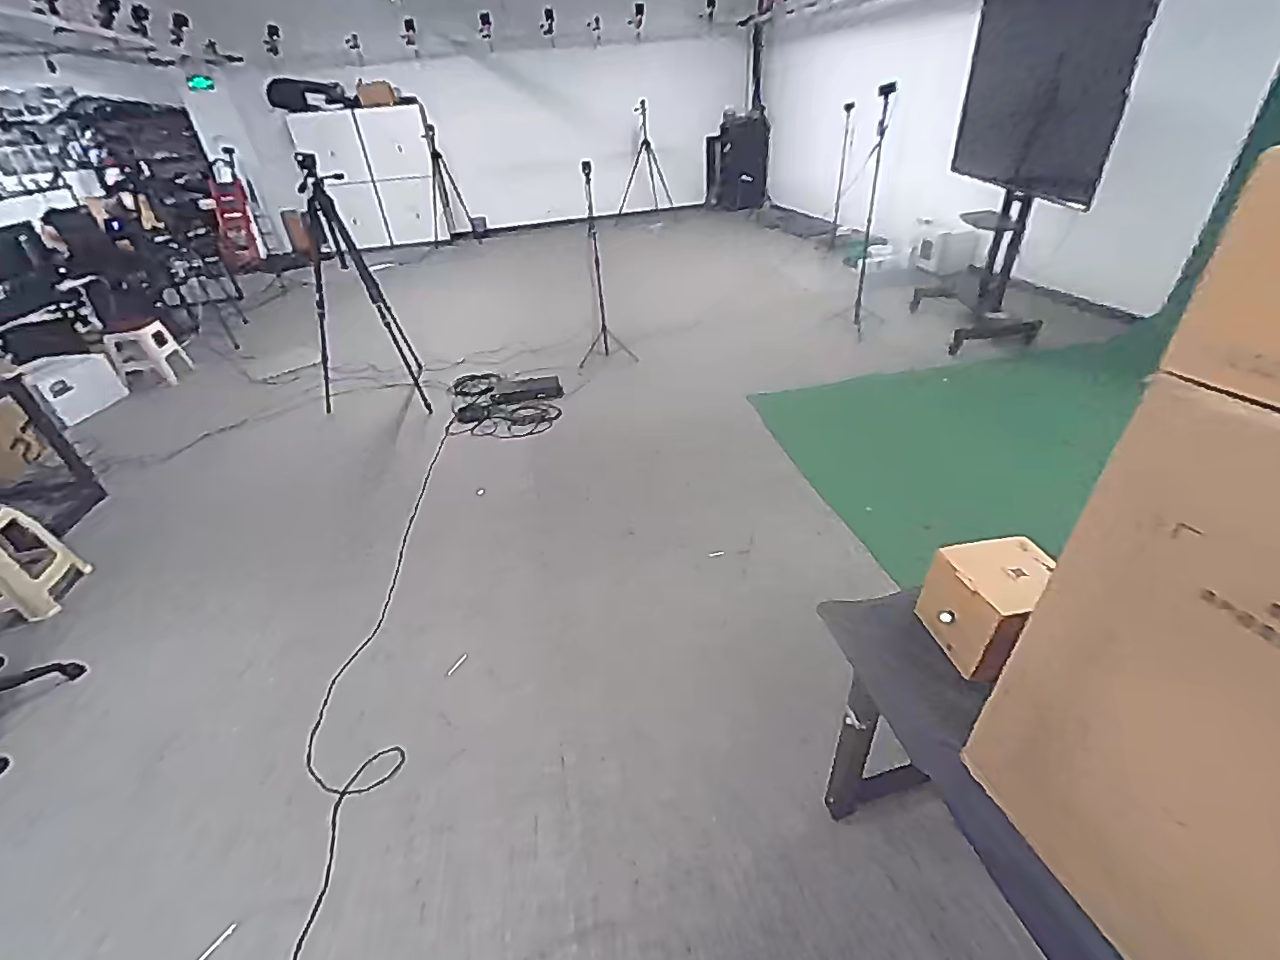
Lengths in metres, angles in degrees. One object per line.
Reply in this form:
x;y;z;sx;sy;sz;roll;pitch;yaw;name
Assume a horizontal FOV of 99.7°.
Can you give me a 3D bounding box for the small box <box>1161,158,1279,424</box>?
0.535;-0.134;0.383;0.179;0.176;0.168;-12;34;-11;small box
